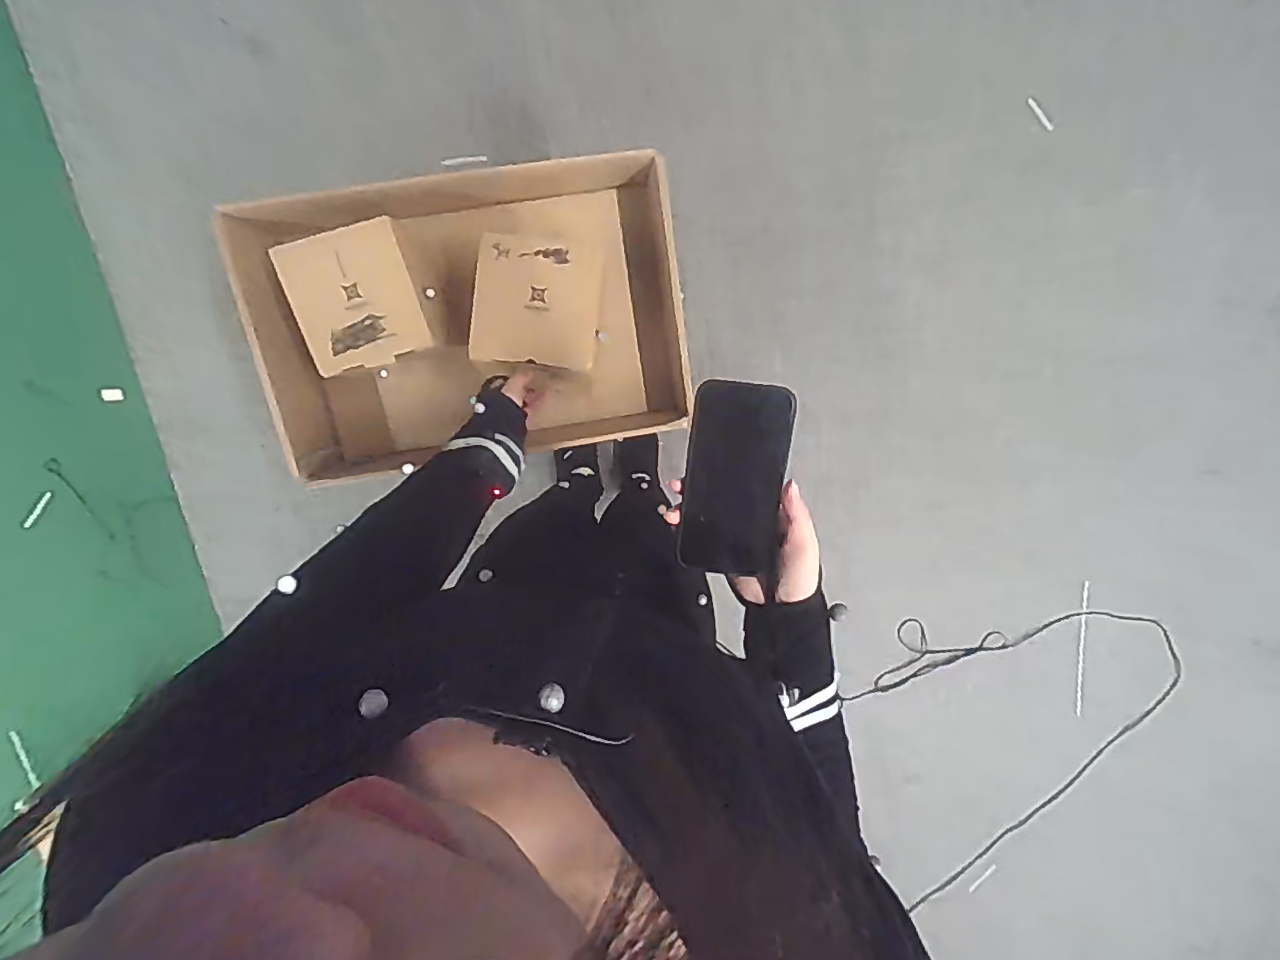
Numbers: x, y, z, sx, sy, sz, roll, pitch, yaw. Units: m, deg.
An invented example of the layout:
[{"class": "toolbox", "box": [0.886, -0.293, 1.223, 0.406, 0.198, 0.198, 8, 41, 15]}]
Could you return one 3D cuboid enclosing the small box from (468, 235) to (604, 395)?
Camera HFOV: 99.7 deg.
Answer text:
[{"class": "small box", "box": [-0.144, -0.229, 0.800, 0.168, 0.176, 0.179, 6, 88, -4]}]
